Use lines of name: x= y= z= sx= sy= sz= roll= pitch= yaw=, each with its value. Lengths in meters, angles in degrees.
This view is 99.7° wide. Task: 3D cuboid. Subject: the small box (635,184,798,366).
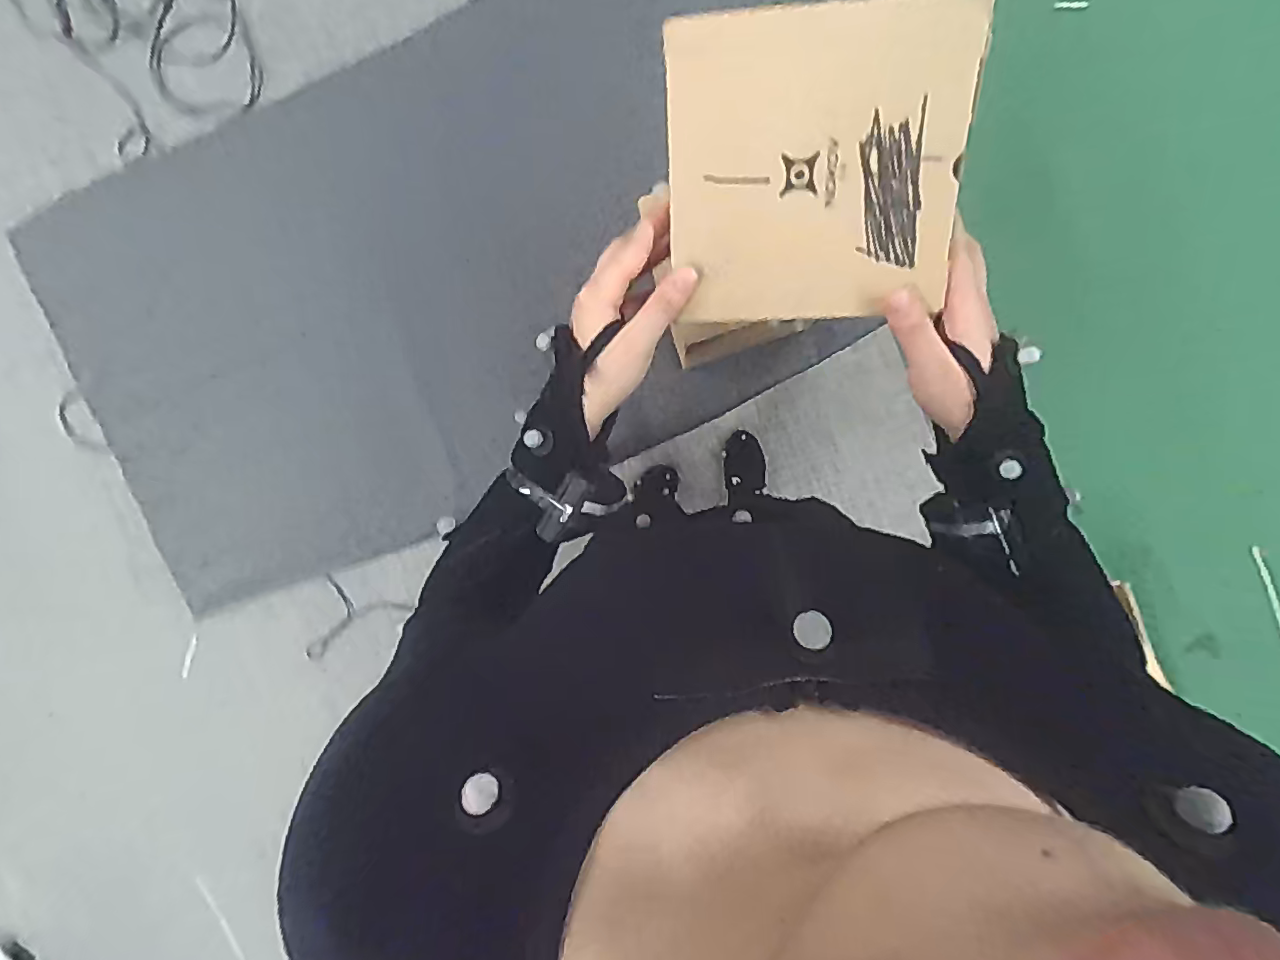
small box: x=0.104 y=-0.247 z=0.635 sx=0.179 sy=0.176 sz=0.168 roll=-18 pitch=91 yaw=5

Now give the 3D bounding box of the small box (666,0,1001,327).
small box: x=0.109 y=-0.207 z=0.389 sx=0.179 sy=0.176 sz=0.168 roll=0 pitch=113 yaw=6
